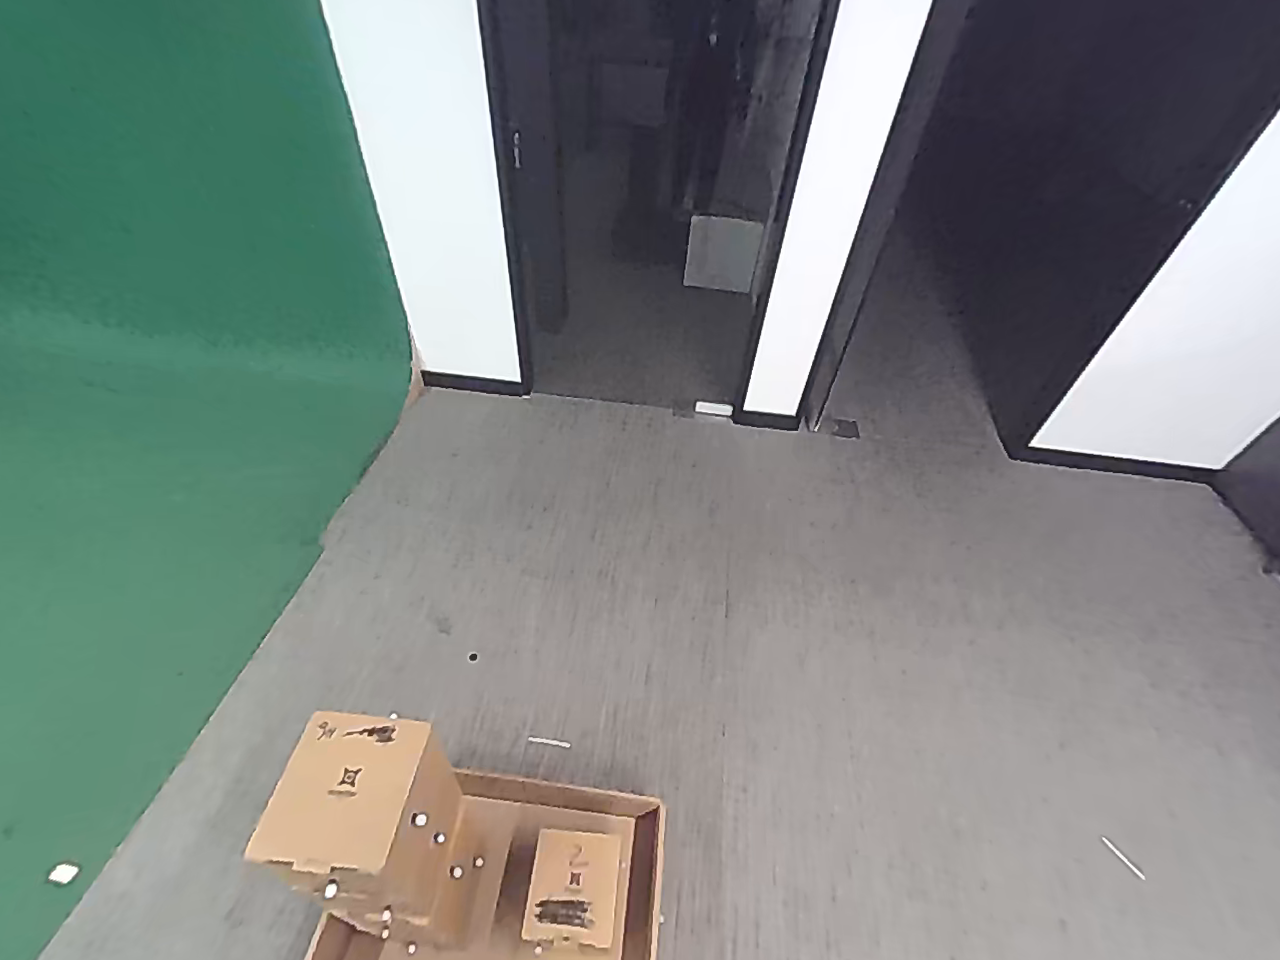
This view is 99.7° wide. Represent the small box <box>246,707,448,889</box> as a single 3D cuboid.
[{"bbox_3d":[-0.378,0.439,0.742,0.168,0.176,0.179,7,45,-1],"label":"small box"}]

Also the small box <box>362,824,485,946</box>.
[{"bbox_3d":[-0.417,0.795,1.077,0.168,0.176,0.179,8,45,2],"label":"small box"}]

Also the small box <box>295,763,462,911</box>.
[{"bbox_3d":[-0.393,0.557,0.854,0.168,0.176,0.179,7,44,0],"label":"small box"}]

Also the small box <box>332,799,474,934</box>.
[{"bbox_3d":[-0.405,0.678,0.964,0.168,0.176,0.179,8,45,1],"label":"small box"}]
